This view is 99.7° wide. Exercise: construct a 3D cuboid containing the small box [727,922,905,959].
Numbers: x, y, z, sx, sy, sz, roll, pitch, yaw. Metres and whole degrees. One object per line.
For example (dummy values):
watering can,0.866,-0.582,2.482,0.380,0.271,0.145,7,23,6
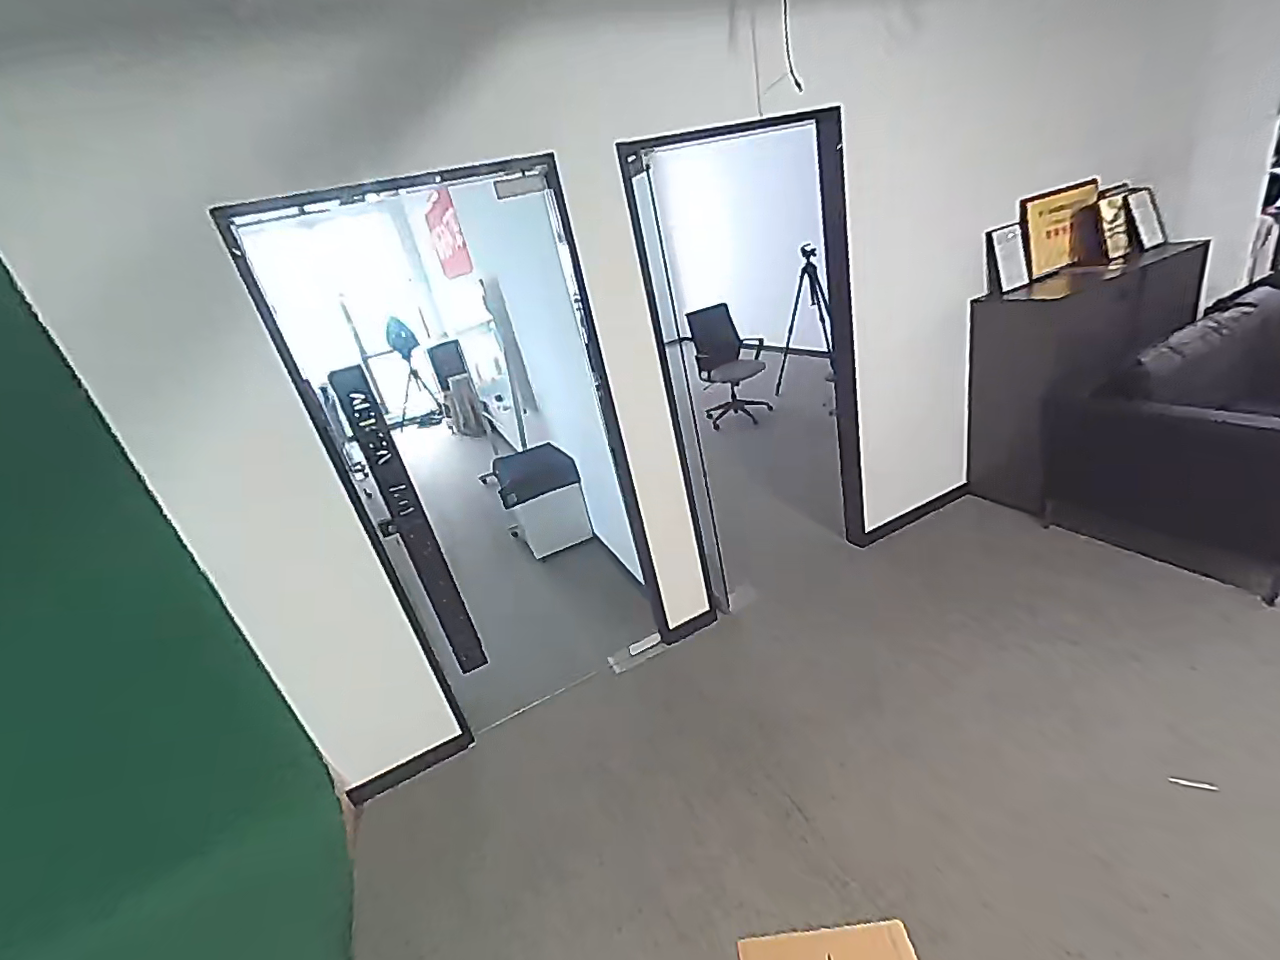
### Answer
small box,0.181,0.556,0.497,0.168,0.176,0.179,-8,28,2
